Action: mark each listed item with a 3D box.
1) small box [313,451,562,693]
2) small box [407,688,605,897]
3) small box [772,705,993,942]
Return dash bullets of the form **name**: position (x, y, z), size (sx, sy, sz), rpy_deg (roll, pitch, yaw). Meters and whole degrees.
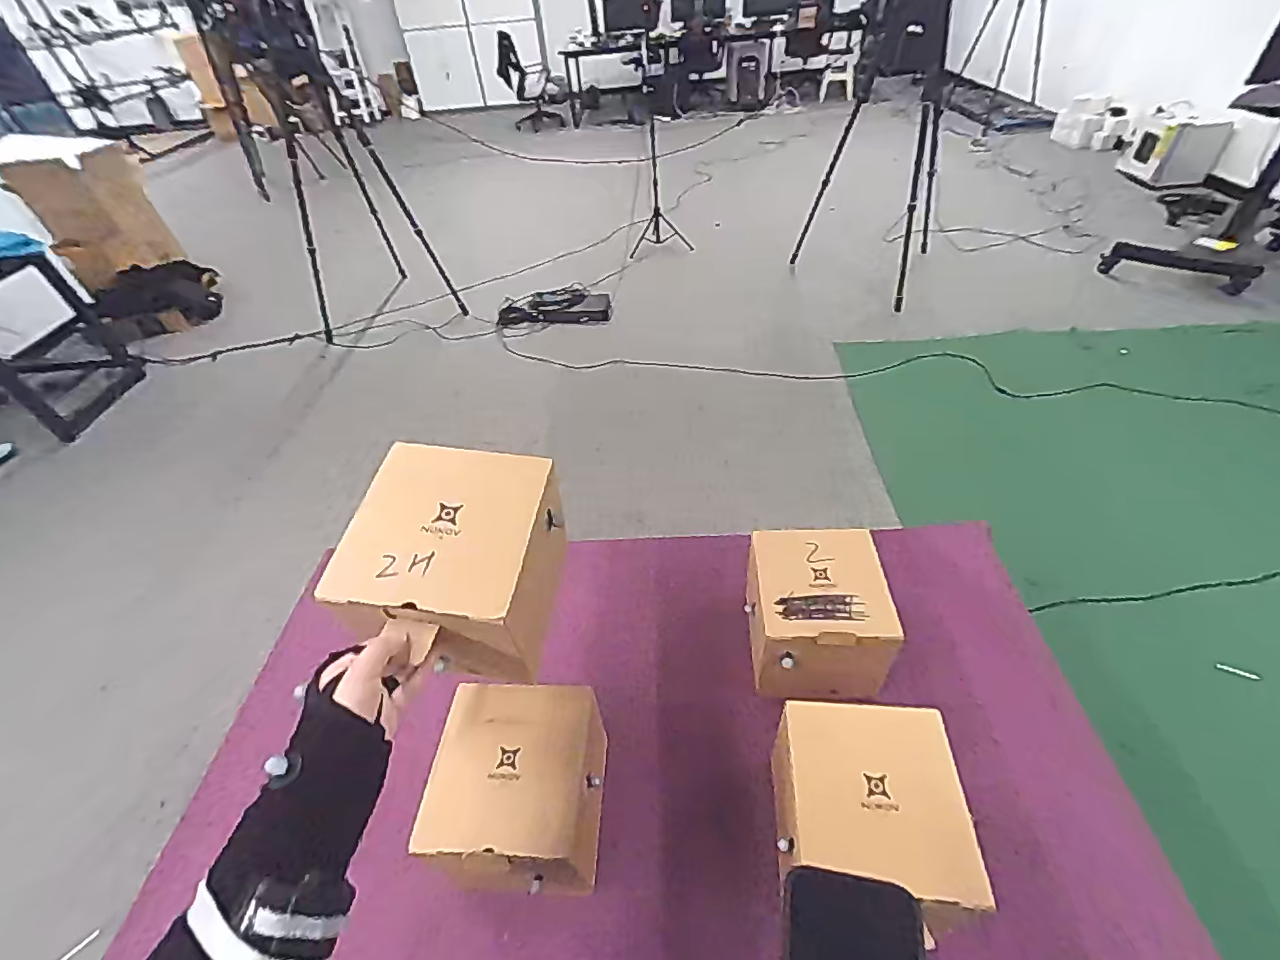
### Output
- **small box**: position (-0.181, 0.096, 0.554), size (0.168, 0.176, 0.179), rpy_deg (6, 53, 5)
- **small box**: position (-0.138, 0.368, 0.637), size (0.168, 0.176, 0.179), rpy_deg (0, 43, 6)
- **small box**: position (0.239, 0.372, 0.589), size (0.168, 0.176, 0.179), rpy_deg (1, 44, 7)
